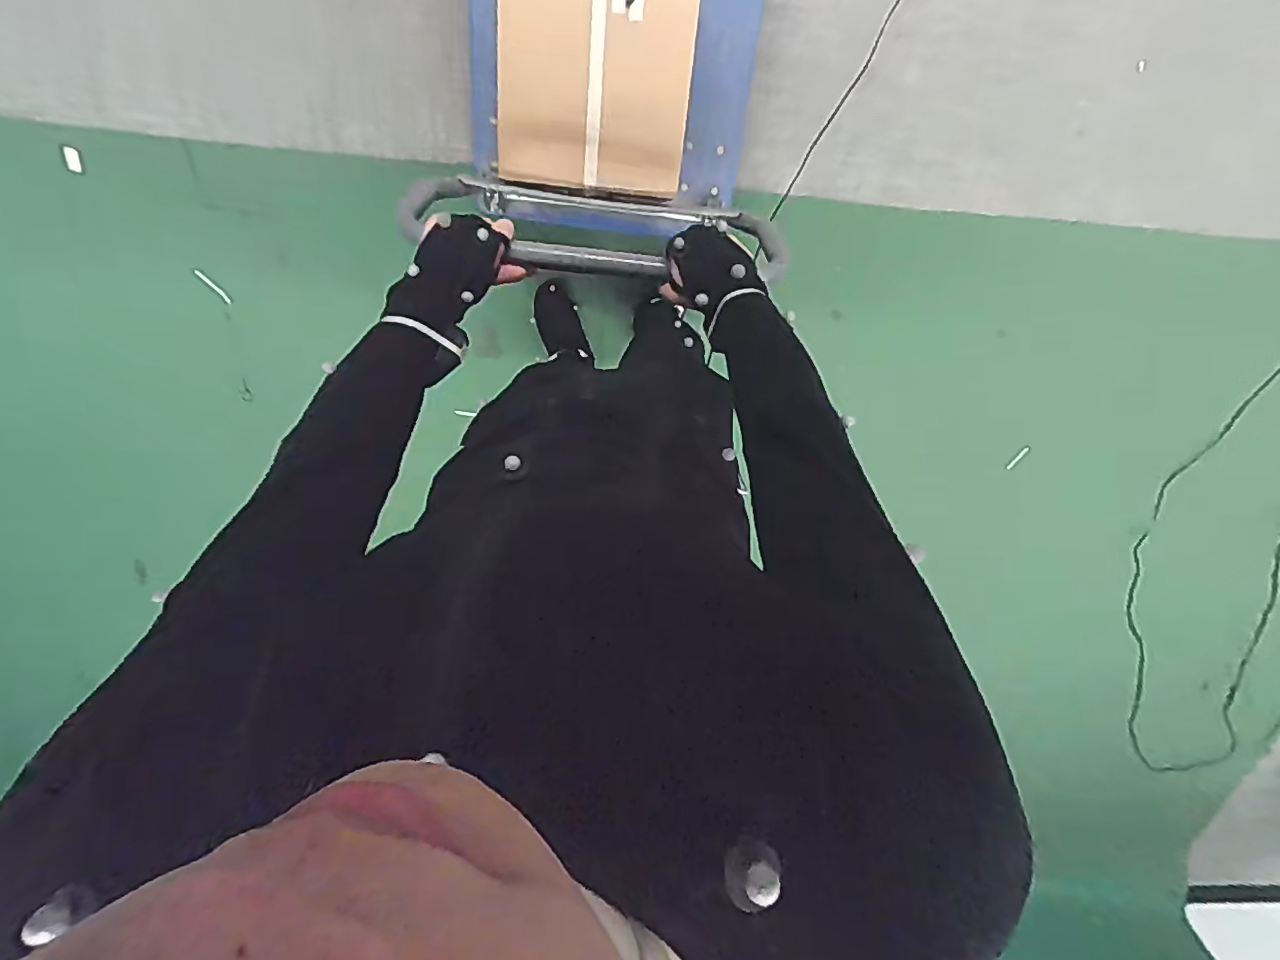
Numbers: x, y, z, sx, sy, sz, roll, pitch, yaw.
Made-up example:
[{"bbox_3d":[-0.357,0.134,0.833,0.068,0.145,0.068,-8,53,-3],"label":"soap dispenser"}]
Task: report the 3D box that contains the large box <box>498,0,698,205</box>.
[{"bbox_3d":[-0.077,-0.751,1.002,0.320,0.320,0.408,4,114,-6],"label":"large box"}]
